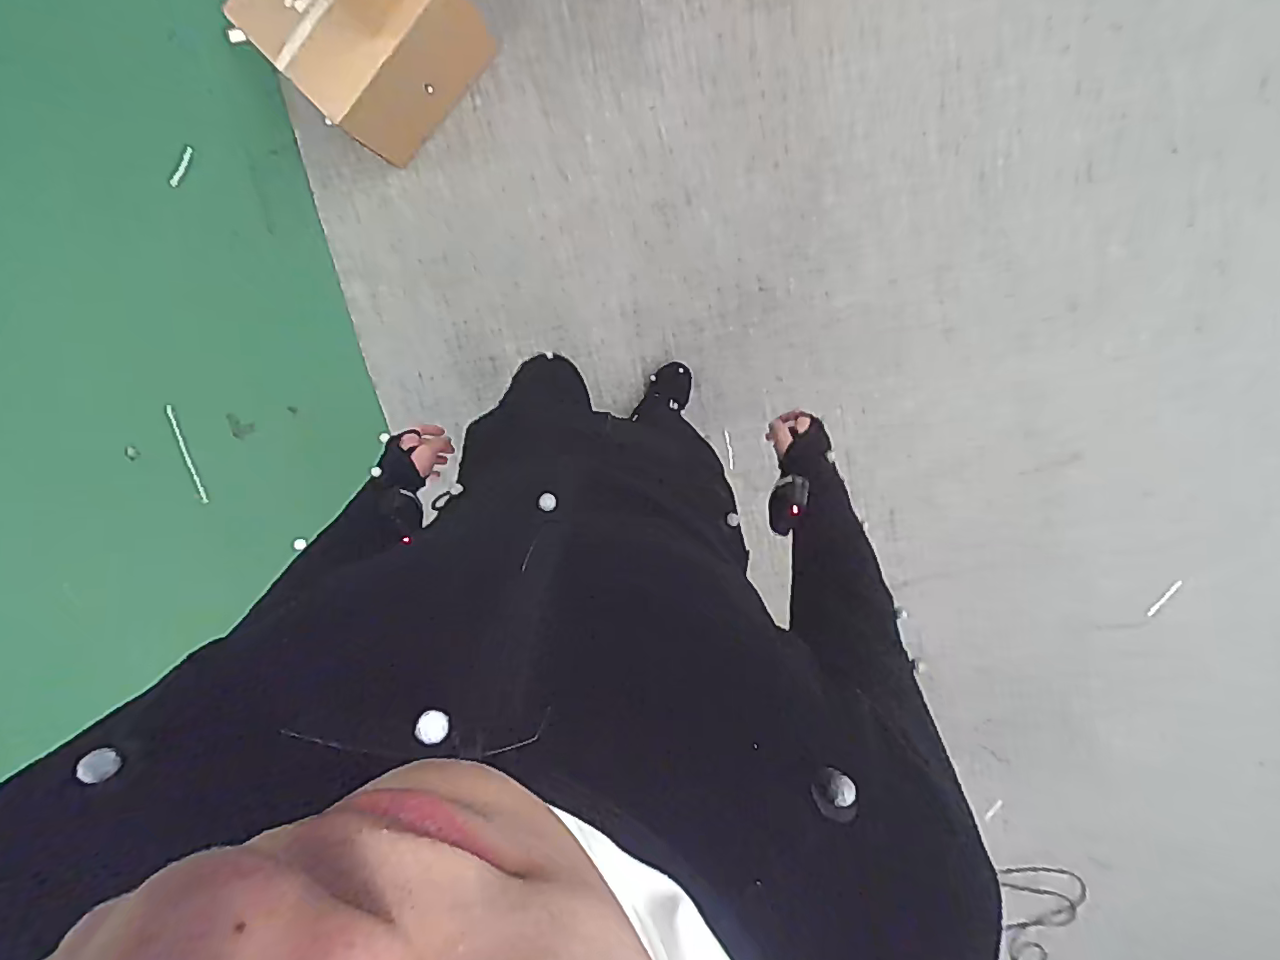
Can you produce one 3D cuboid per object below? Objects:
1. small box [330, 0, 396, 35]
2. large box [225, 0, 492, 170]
[{"bbox_3d":[-0.558,-1.005,1.008,0.168,0.176,0.179,44,101,-8],"label":"small box"},{"bbox_3d":[-0.621,-1.034,1.257,0.320,0.320,0.408,45,102,-7],"label":"large box"}]
